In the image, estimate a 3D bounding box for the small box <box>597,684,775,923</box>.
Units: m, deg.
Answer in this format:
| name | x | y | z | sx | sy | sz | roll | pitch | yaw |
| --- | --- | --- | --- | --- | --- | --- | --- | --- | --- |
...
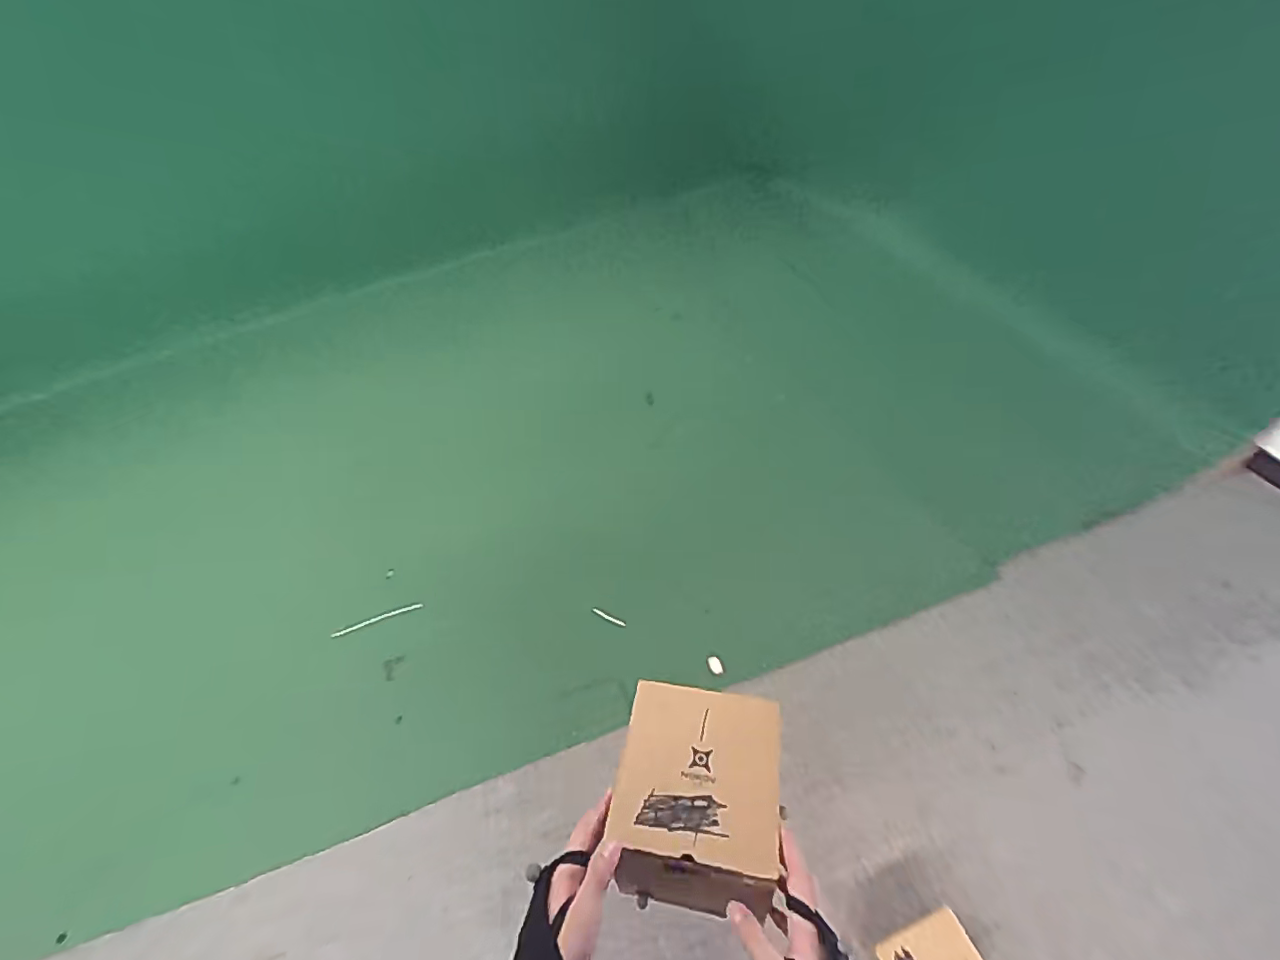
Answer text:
| name | x | y | z | sx | sy | sz | roll | pitch | yaw |
| --- | --- | --- | --- | --- | --- | --- | --- | --- | --- |
| small box | 0.061 | 0.364 | 0.611 | 0.168 | 0.176 | 0.179 | 4 | 41 | 12 |
